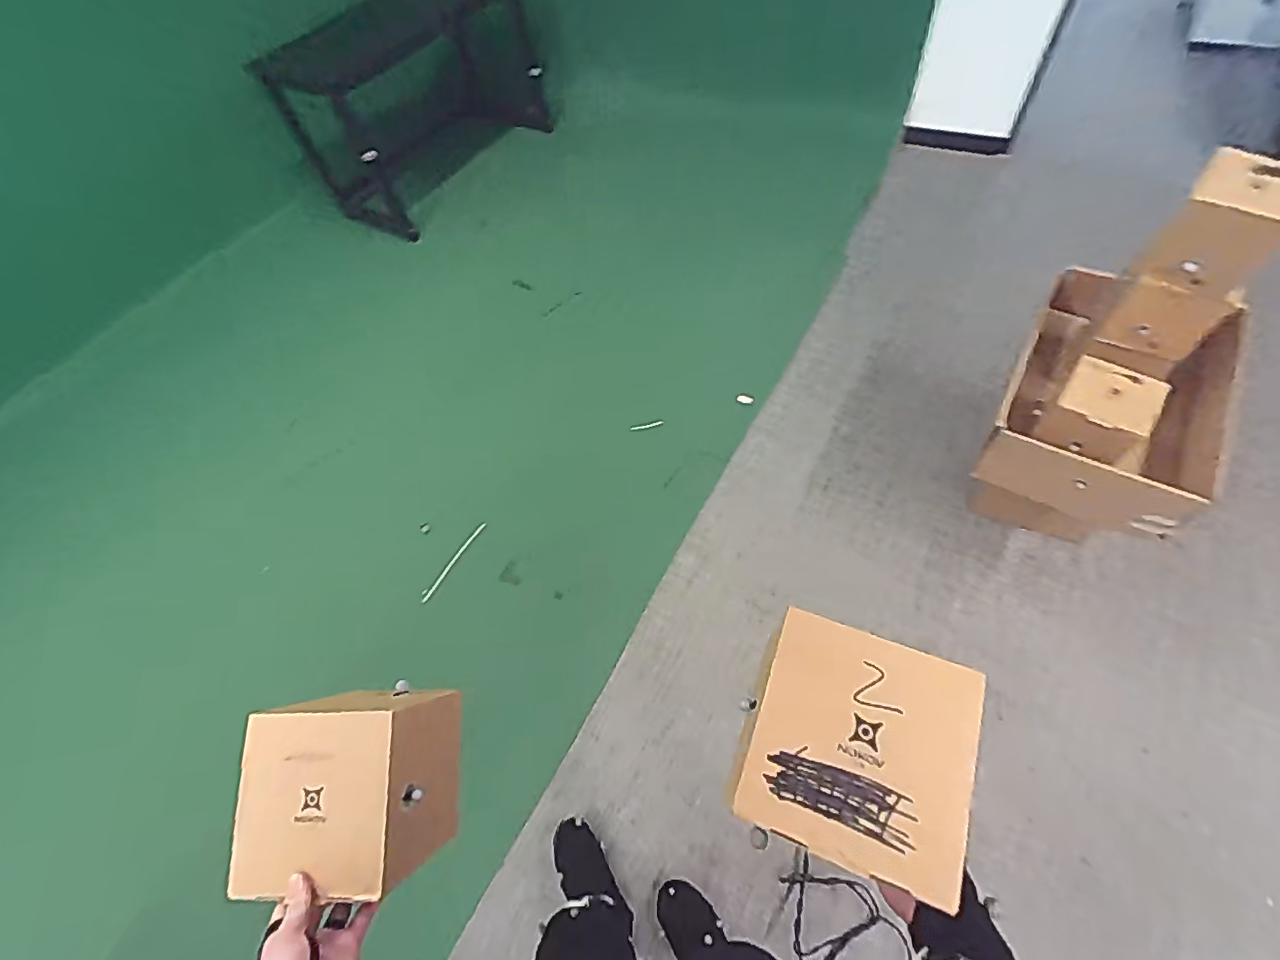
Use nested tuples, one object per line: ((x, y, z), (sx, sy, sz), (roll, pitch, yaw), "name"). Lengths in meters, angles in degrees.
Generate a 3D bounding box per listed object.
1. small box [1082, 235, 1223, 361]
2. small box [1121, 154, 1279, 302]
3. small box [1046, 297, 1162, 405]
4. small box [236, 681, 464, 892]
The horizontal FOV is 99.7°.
((1.122, -0.399, 1.190), (0.168, 0.176, 0.179), (25, 67, 21), "small box")
((1.099, -0.487, 1.053), (0.168, 0.176, 0.179), (34, 71, 24), "small box")
((1.144, -0.319, 1.329), (0.168, 0.176, 0.179), (25, 66, 22), "small box")
((-0.321, 0.340, 0.634), (0.168, 0.176, 0.179), (-2, 76, 6), "small box")
